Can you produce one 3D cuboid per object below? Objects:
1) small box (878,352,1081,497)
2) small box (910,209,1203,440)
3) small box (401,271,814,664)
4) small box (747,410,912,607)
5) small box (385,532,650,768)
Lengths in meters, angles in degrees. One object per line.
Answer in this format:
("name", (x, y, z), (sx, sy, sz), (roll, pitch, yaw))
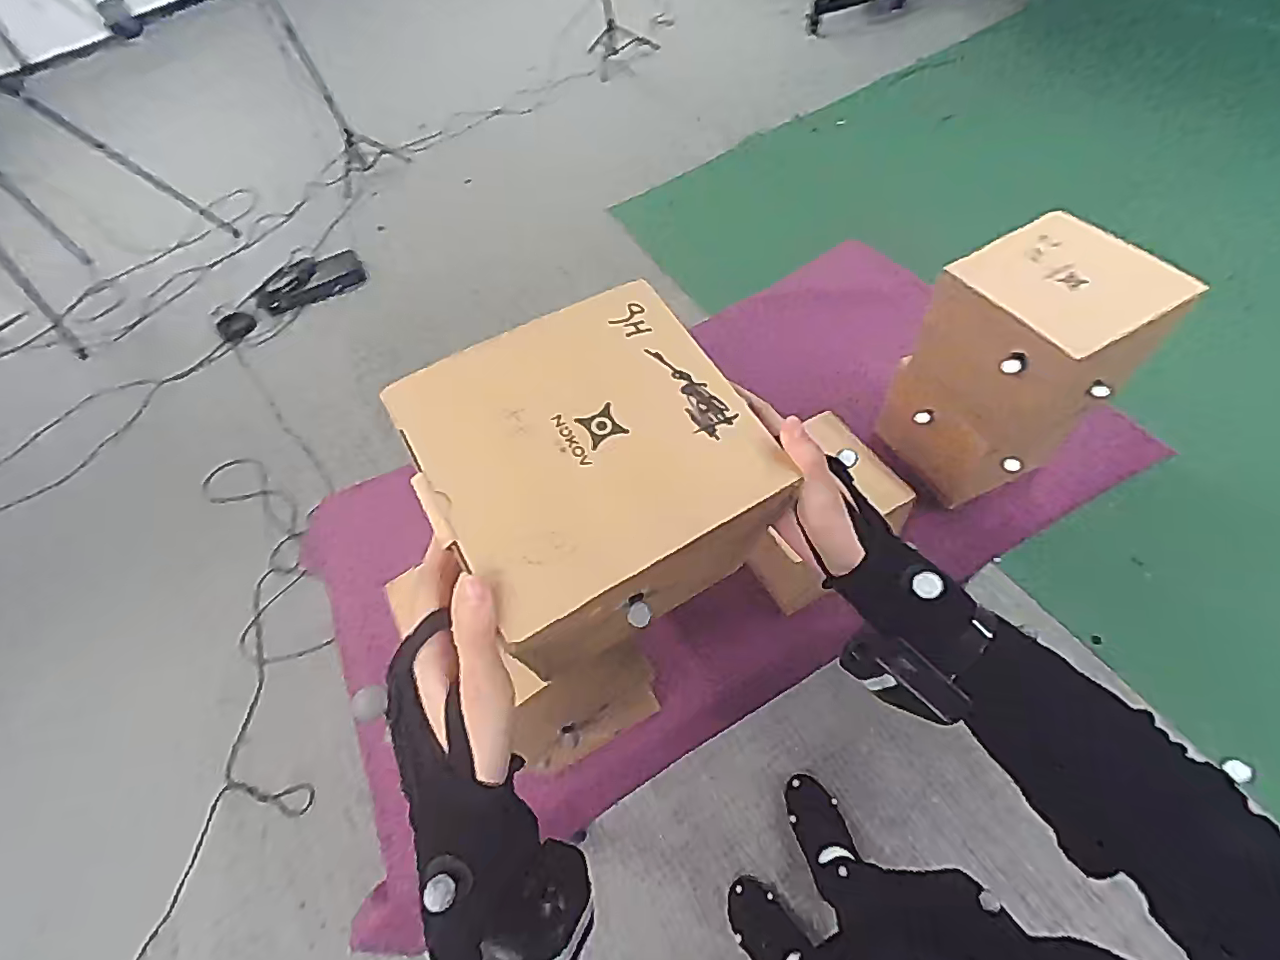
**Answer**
("small box", (0.477, -0.096, 0.778), (0.168, 0.176, 0.179), (-25, 57, -5))
("small box", (0.456, -0.170, 0.631), (0.168, 0.176, 0.179), (-27, 57, -7))
("small box", (-0.023, 0.003, 0.362), (0.179, 0.176, 0.168), (-26, 69, -15))
("small box", (0.225, 0.044, 0.733), (0.179, 0.176, 0.168), (-28, 56, -9))
("small box", (-0.110, 0.150, 0.530), (0.168, 0.176, 0.179), (-33, 57, -11))
